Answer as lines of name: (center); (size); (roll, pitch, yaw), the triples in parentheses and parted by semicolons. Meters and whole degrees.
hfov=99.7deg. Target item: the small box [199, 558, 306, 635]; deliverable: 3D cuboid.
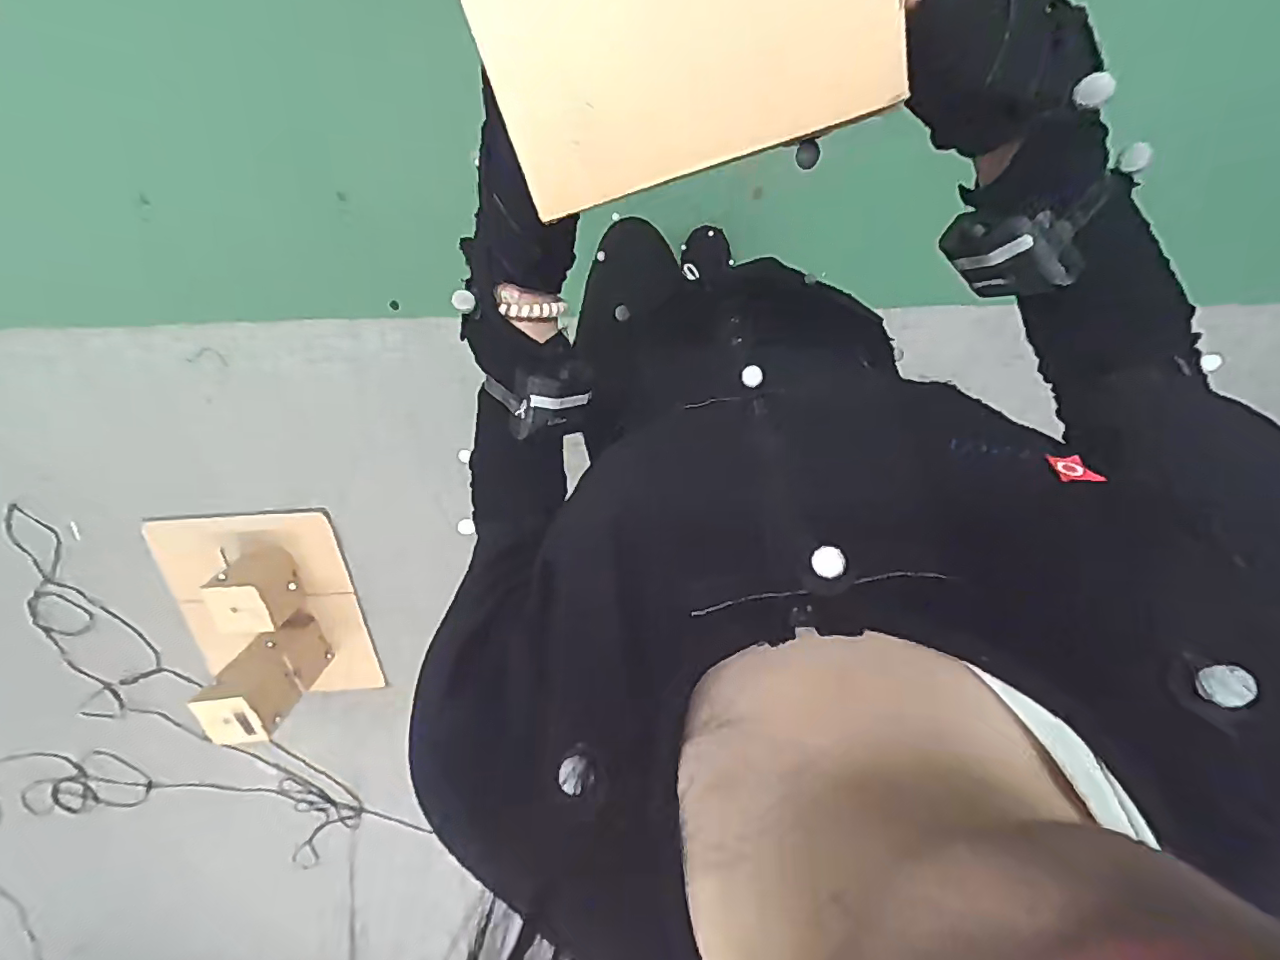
small box: (-1.164, 0.349, 1.640); (0.179, 0.176, 0.168); (-3, 114, 3)

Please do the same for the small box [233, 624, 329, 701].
small box: (-1.135, 0.580, 1.734); (0.179, 0.176, 0.168); (-7, 113, 6)
